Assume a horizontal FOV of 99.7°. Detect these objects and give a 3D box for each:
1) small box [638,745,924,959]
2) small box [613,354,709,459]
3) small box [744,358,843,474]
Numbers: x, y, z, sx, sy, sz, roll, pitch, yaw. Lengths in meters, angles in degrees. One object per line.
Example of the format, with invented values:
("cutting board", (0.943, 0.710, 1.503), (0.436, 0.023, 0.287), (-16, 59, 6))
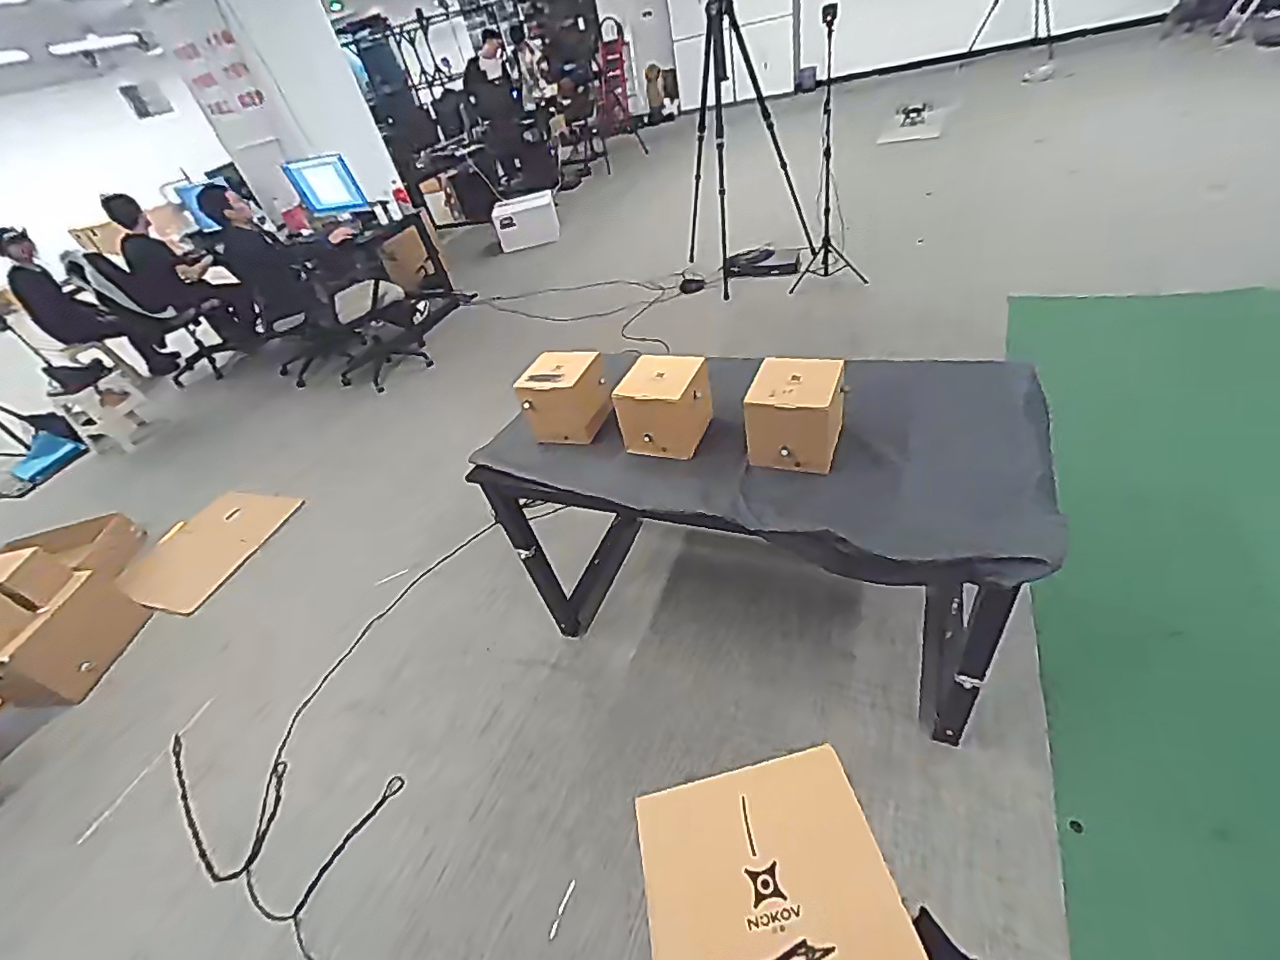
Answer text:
("small box", (0.106, 0.341, 0.406), (0.168, 0.176, 0.179), (-16, 34, 2))
("small box", (0.057, -0.175, 1.269), (0.168, 0.176, 0.179), (9, 46, 25))
("small box", (0.326, -0.139, 1.144), (0.168, 0.176, 0.179), (9, 46, 26))
